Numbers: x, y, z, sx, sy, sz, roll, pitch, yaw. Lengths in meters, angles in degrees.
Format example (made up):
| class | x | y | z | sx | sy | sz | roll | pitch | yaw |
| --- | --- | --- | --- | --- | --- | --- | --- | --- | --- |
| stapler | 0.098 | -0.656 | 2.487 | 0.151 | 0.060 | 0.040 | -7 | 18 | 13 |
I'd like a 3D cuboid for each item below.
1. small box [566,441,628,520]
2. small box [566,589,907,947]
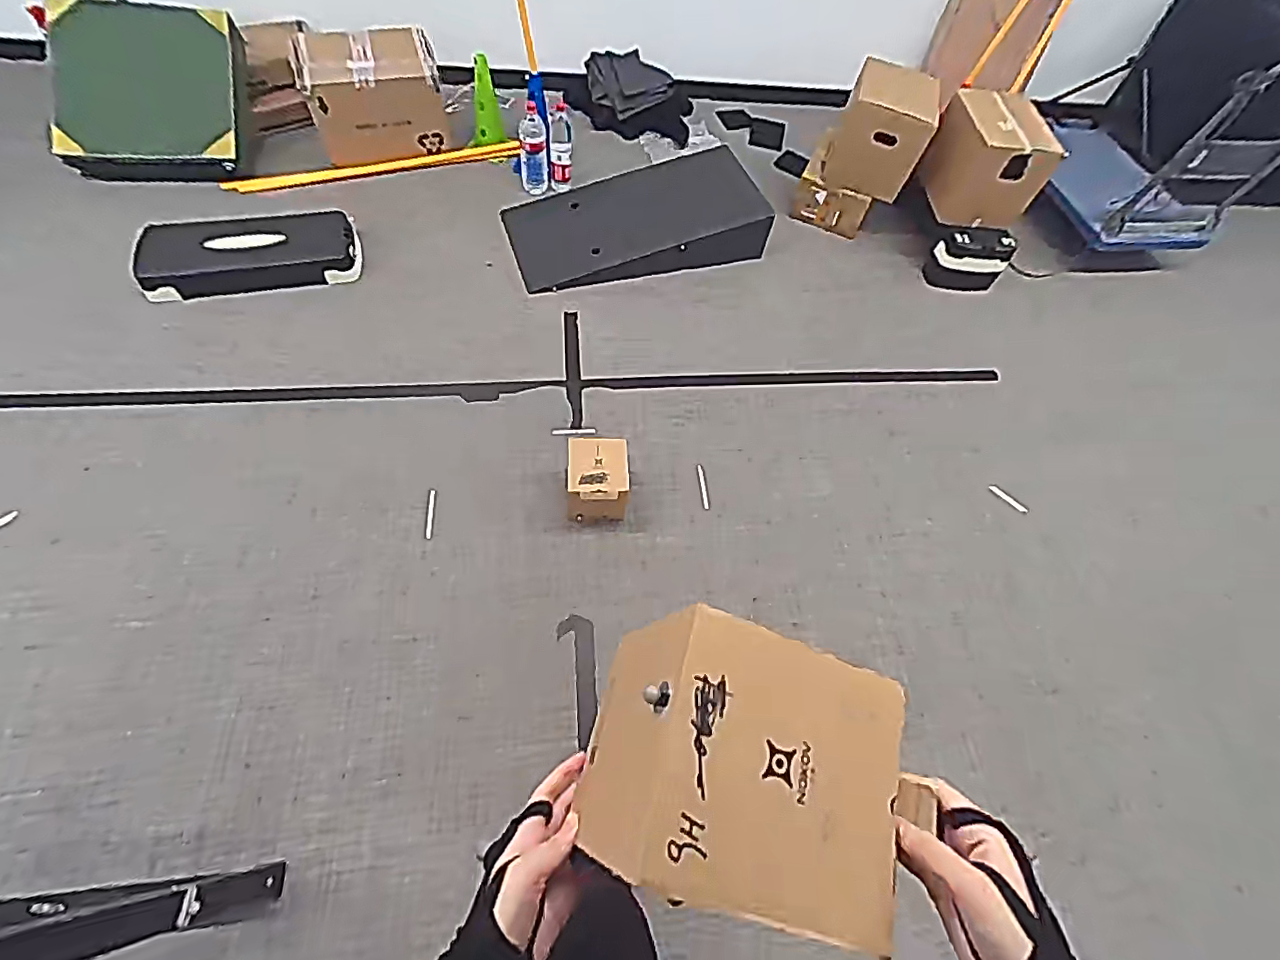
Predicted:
| class | x | y | z | sx | sy | sz | roll | pitch | yaw |
| --- | --- | --- | --- | --- | --- | --- | --- | --- | --- |
| small box | -0.124 | 0.006 | 1.536 | 0.168 | 0.176 | 0.179 | 0 | 59 | -8 |
| small box | 0.067 | 0.204 | 0.409 | 0.179 | 0.176 | 0.168 | 26 | 59 | -11 |
